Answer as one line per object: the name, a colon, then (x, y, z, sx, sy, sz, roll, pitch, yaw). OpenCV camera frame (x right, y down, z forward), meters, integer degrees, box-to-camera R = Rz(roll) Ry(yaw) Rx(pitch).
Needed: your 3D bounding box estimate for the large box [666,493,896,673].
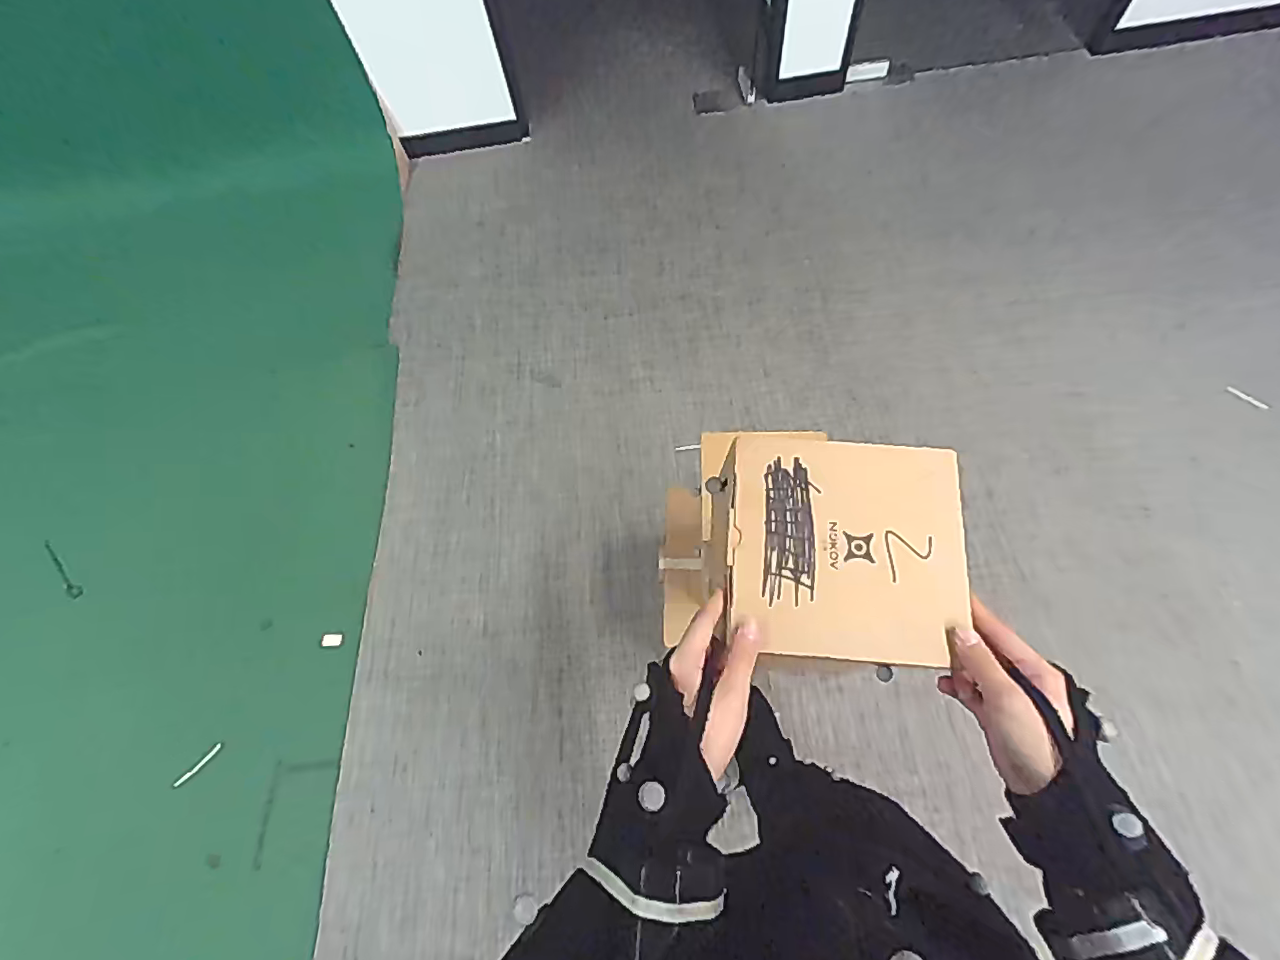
large box: (0.259, 0.230, 1.147, 0.408, 0.320, 0.320, 0, 65, 4)

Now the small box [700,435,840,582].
small box: (0.177, 0.048, 0.791, 0.179, 0.176, 0.168, 0, 63, 5)

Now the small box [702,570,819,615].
small box: (0.197, 0.131, 0.930, 0.179, 0.176, 0.168, 0, 63, 6)
